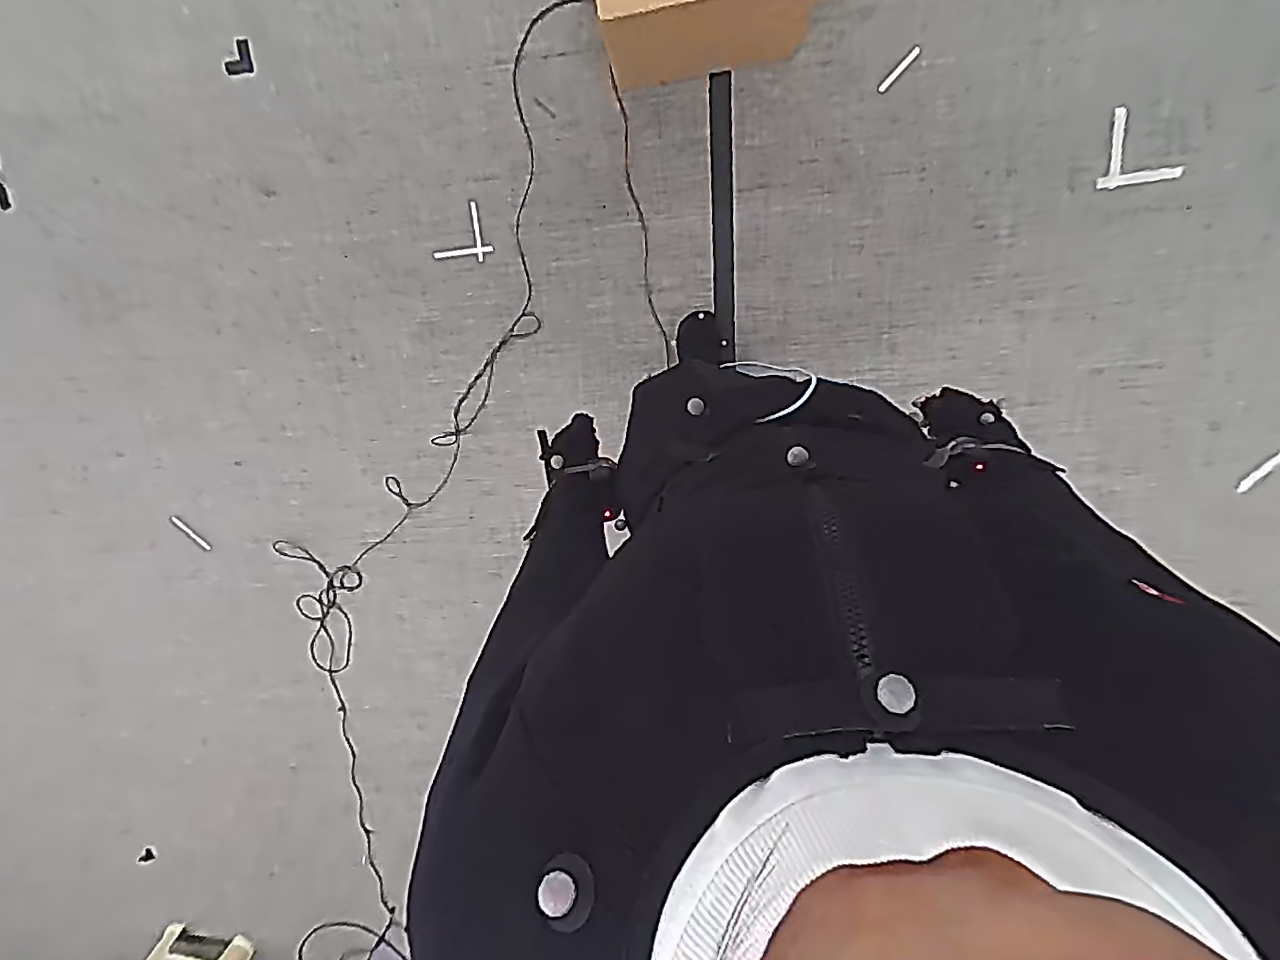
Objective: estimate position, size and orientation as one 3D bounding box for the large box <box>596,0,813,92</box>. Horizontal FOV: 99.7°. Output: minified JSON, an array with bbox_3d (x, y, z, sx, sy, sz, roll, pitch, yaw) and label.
[{"bbox_3d":[0.108,-1.016,1.037,0.408,0.320,0.320,-7,106,5],"label":"large box"}]
